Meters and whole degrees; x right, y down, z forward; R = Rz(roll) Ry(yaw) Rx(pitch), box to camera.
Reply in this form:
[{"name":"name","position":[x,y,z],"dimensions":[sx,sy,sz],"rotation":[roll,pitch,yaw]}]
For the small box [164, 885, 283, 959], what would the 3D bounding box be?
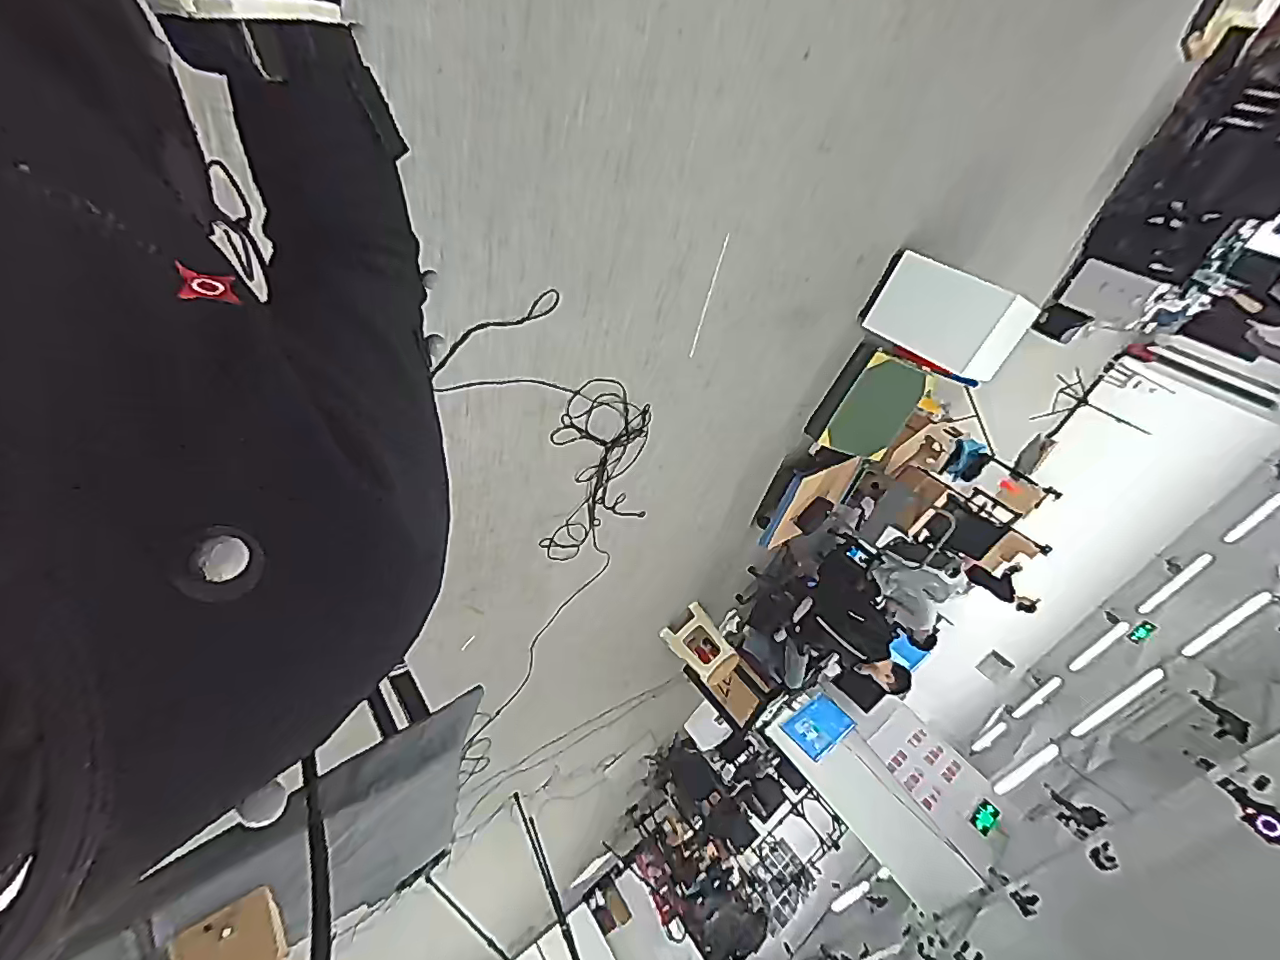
[{"name":"small box","position":[-0.854,0.993,1.121],"dimensions":[0.168,0.176,0.179],"rotation":[-17,137,-38]}]
